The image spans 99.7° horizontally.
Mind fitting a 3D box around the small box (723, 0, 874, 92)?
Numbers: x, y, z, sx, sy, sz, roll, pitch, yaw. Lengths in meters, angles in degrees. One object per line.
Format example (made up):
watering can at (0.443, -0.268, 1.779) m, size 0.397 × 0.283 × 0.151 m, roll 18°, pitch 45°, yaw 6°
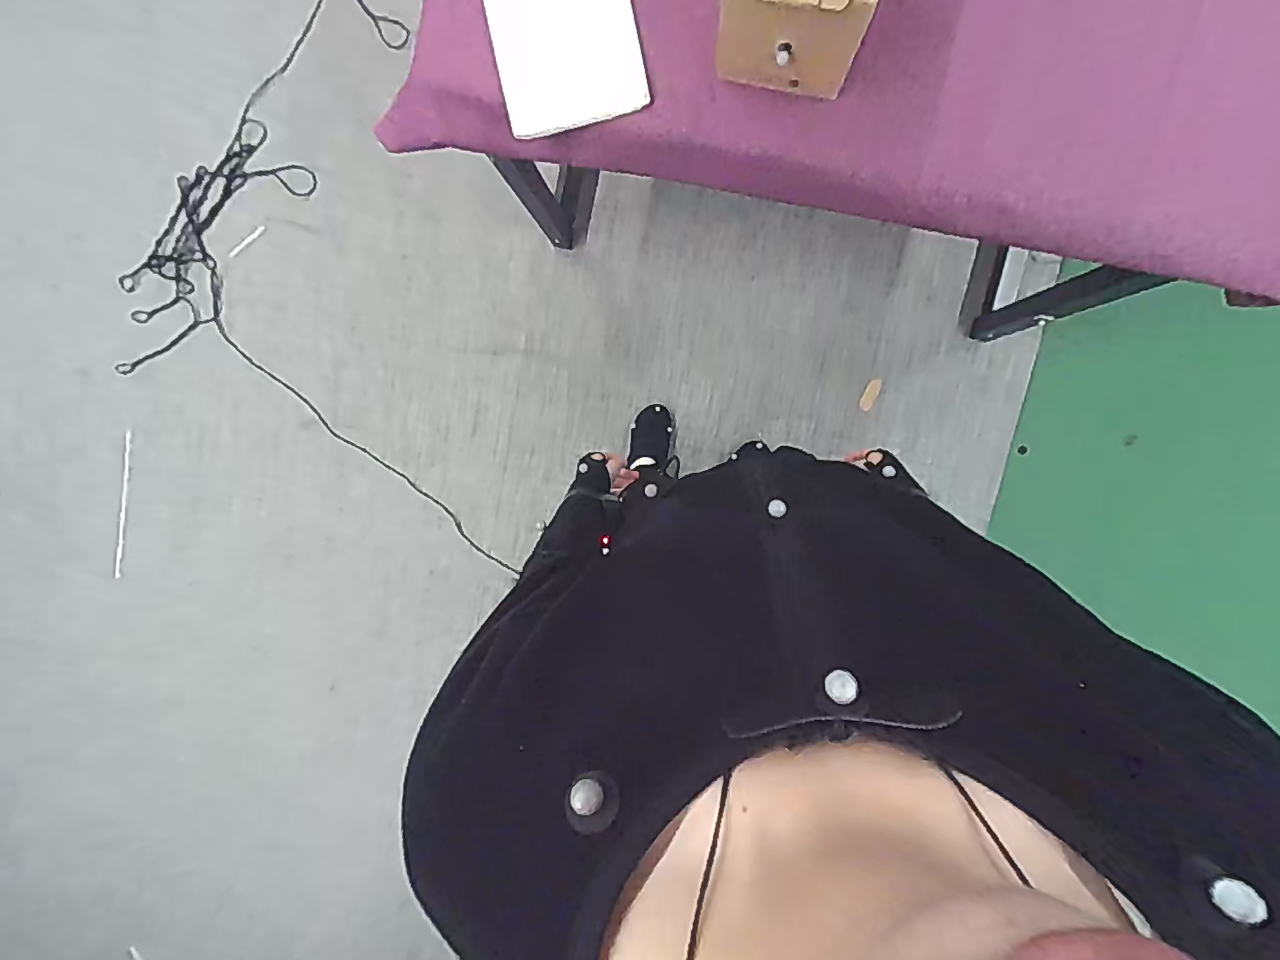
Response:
small box at (0.198, -0.608, 0.641) m, size 0.168 × 0.176 × 0.179 m, roll 14°, pitch 97°, yaw 4°
